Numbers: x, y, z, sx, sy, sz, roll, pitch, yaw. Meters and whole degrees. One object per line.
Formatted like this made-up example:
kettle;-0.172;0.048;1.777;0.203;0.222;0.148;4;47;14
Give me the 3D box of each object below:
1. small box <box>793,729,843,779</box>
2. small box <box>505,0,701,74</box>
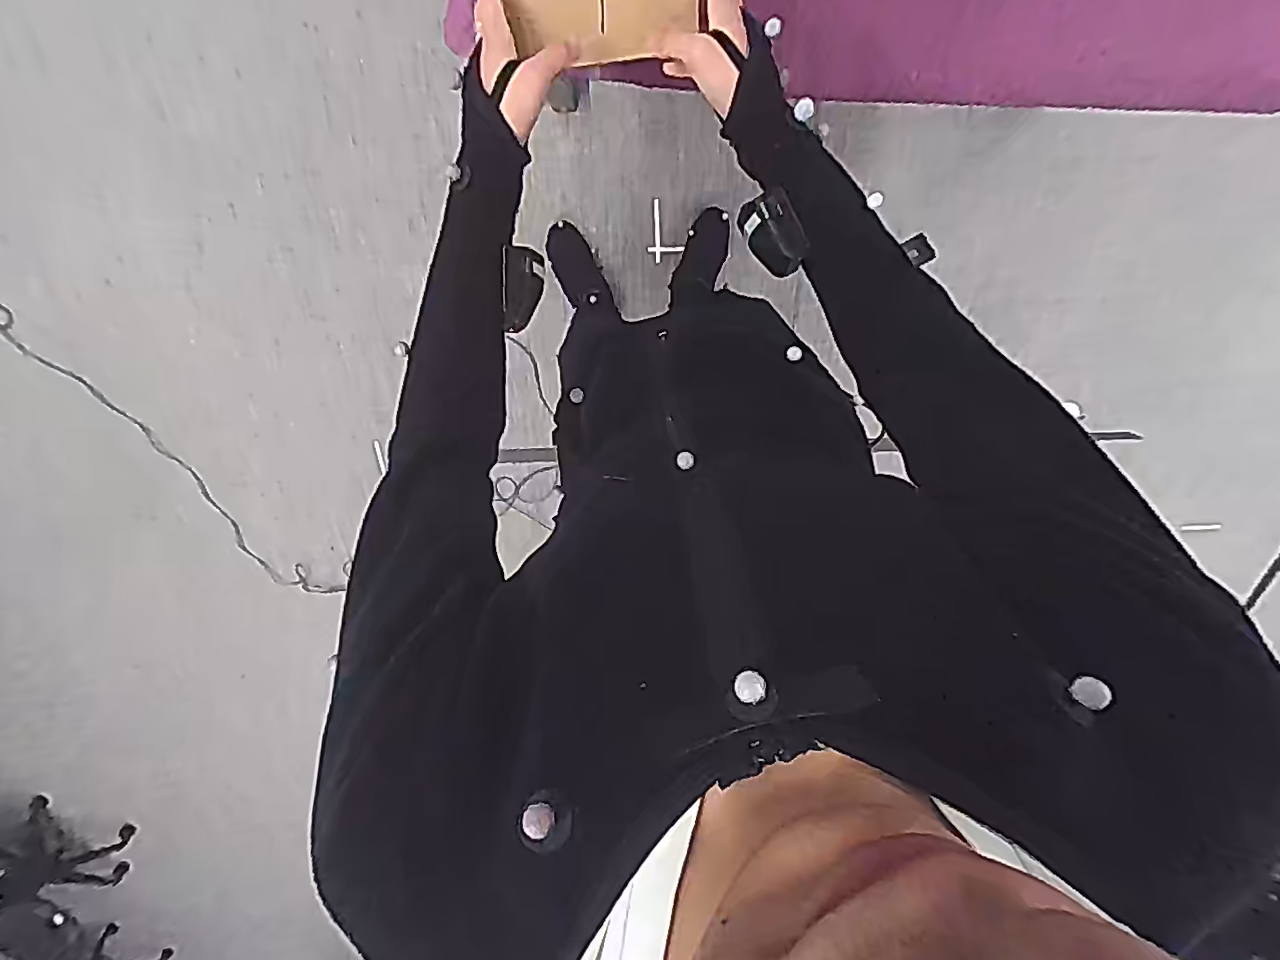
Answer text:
small box;0.805;1.268;2.462;0.168;0.176;0.179;-6;120;-1
small box;-0.045;-0.480;0.483;0.168;0.176;0.179;-9;130;-3
